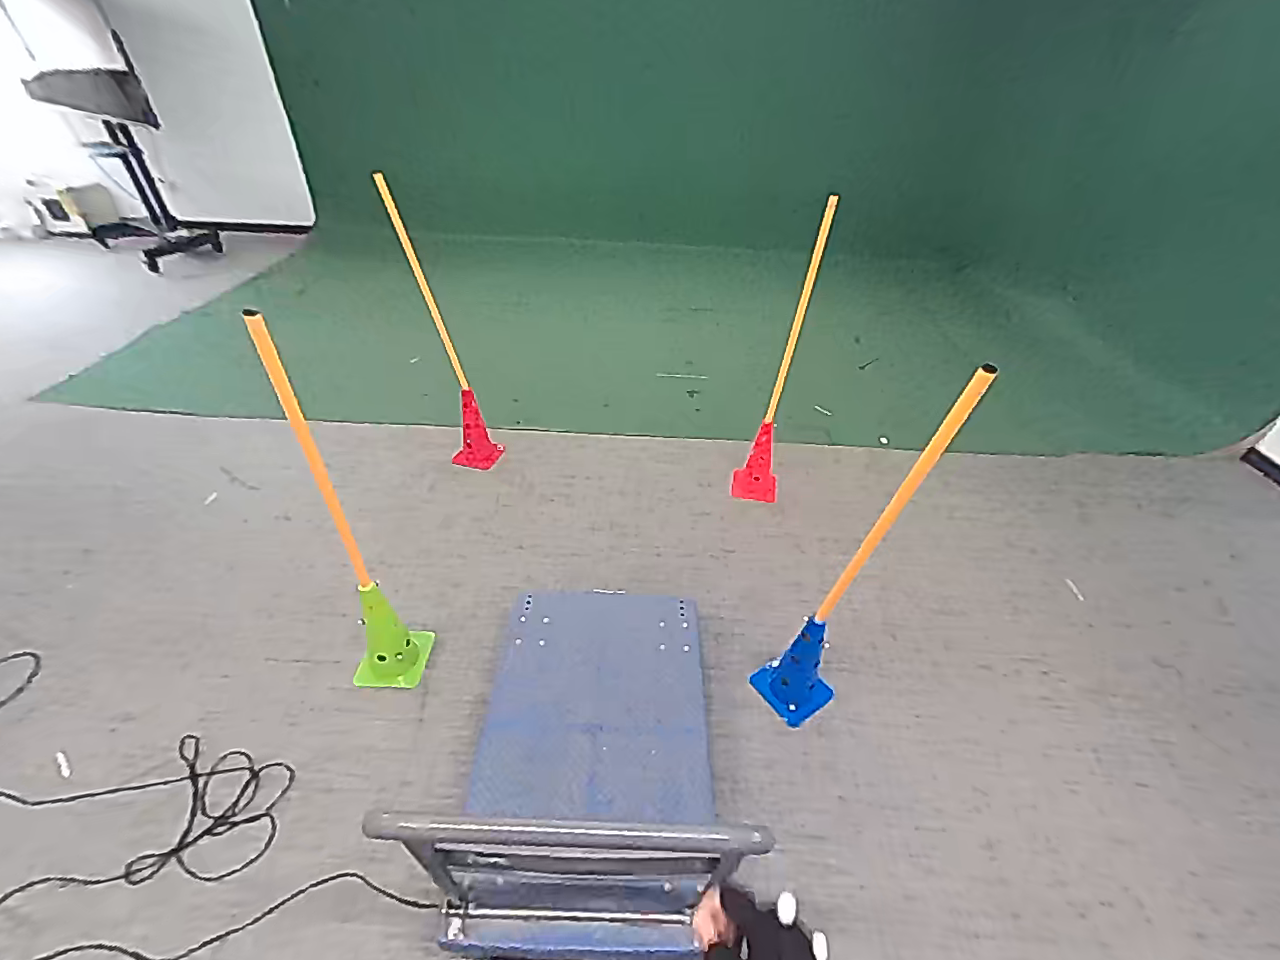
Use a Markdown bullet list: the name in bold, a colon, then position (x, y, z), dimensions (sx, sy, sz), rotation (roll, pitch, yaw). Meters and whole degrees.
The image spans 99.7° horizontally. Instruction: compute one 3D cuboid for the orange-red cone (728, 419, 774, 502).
- **orange-red cone**: position (0.509, -0.106, 2.340), dimensions (0.198, 0.360, 0.199), rotation (9, 40, 9)
